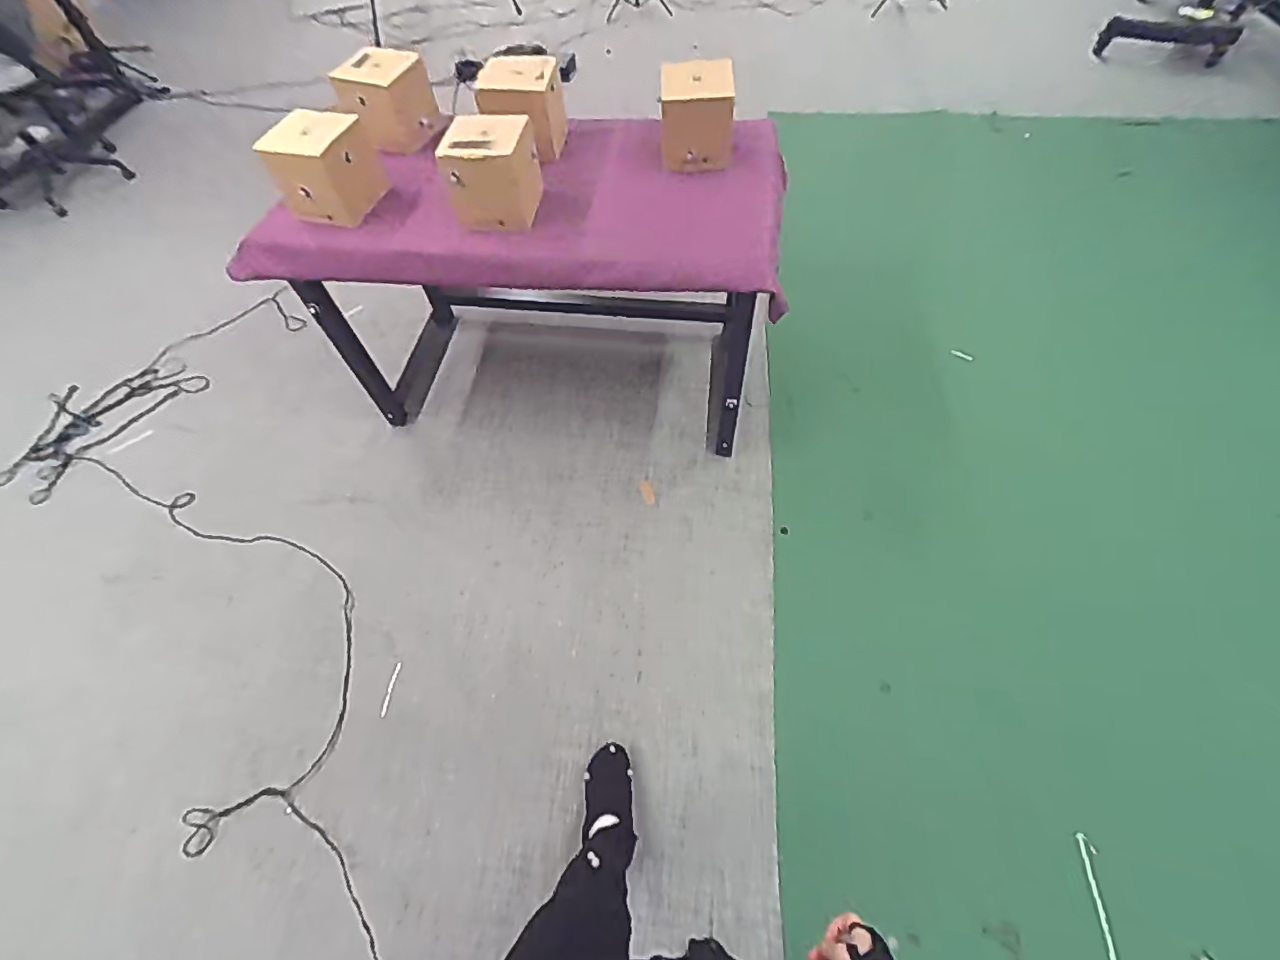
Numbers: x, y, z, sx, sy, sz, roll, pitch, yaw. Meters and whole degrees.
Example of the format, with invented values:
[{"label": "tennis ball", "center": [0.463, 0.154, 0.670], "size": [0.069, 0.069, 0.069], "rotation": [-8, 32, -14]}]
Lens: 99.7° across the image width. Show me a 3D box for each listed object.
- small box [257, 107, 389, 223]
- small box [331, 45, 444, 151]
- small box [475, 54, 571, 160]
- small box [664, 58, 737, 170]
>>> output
[{"label": "small box", "center": [-0.716, -0.722, 1.247], "size": [0.168, 0.176, 0.179], "rotation": [12, 60, 9]}, {"label": "small box", "center": [-0.647, -0.990, 1.407], "size": [0.179, 0.176, 0.168], "rotation": [16, 62, 11]}, {"label": "small box", "center": [-0.285, -0.930, 1.356], "size": [0.179, 0.176, 0.168], "rotation": [4, 61, 6]}, {"label": "small box", "center": [0.142, -0.877, 1.302], "size": [0.168, 0.176, 0.179], "rotation": [0, 60, 5]}]
